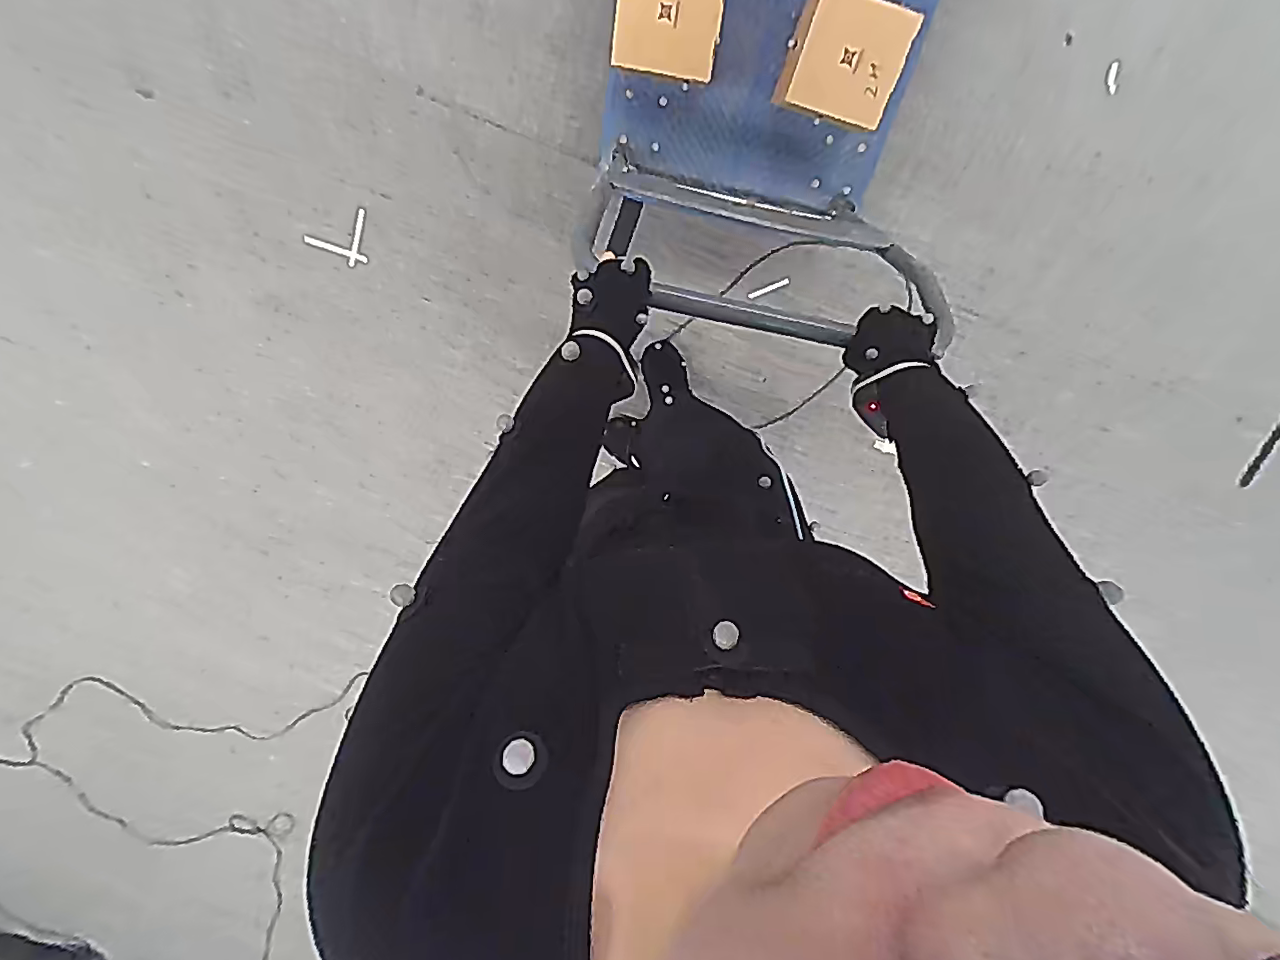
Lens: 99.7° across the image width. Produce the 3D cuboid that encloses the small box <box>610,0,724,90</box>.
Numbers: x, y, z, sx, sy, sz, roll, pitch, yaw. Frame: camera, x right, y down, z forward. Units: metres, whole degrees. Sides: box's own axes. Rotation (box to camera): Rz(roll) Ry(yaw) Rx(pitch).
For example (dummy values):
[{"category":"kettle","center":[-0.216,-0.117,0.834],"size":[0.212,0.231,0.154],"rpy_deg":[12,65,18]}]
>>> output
[{"category":"small box","center":[0.048,-0.806,0.958],"size":[0.179,0.176,0.168],"rpy_deg":[7,123,-4]}]

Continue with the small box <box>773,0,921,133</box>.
[{"category":"small box","center":[0.359,-0.746,0.980],"size":[0.179,0.176,0.168],"rpy_deg":[14,123,-6]}]
